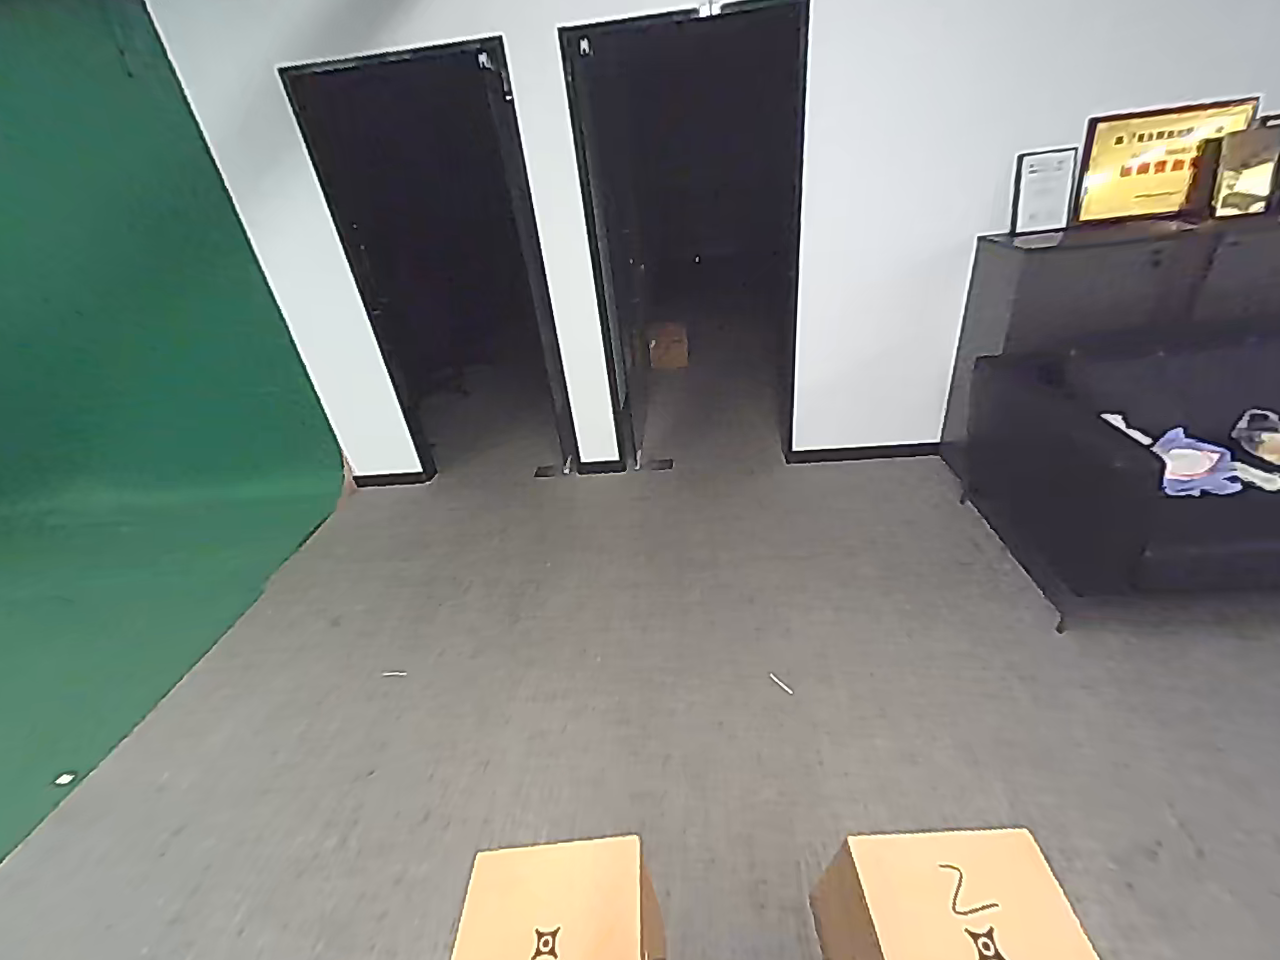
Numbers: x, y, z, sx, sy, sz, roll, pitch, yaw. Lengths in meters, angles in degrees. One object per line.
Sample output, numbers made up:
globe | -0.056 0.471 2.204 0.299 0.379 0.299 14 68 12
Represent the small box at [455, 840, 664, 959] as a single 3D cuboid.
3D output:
small box | -0.066 0.469 0.490 0.168 0.176 0.179 -8 27 4
